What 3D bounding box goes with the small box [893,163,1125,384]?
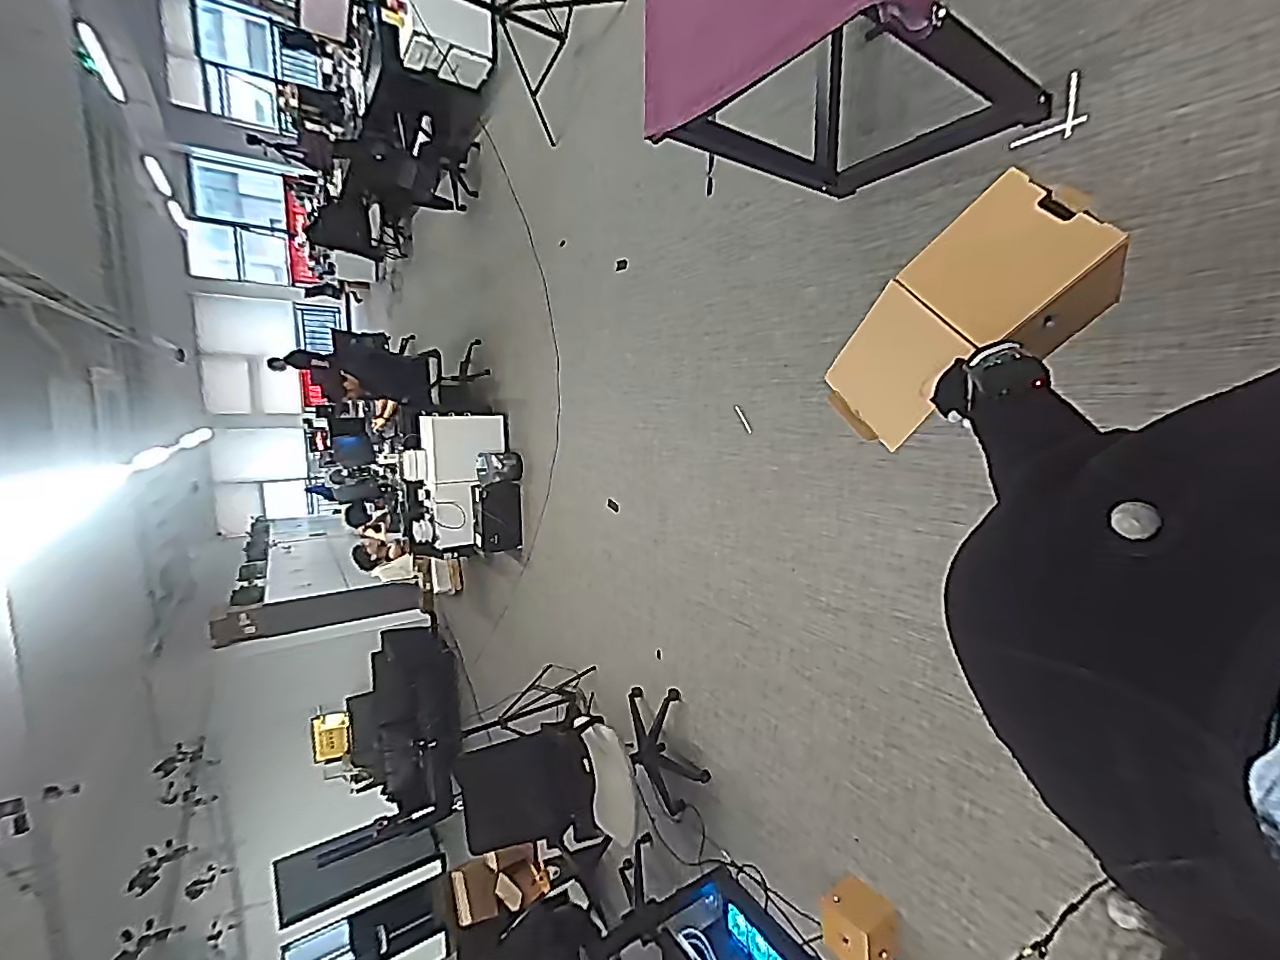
[{"bbox_3d":[0.473,-0.253,0.702,0.179,0.176,0.168,-44,58,23],"label":"small box"}]
